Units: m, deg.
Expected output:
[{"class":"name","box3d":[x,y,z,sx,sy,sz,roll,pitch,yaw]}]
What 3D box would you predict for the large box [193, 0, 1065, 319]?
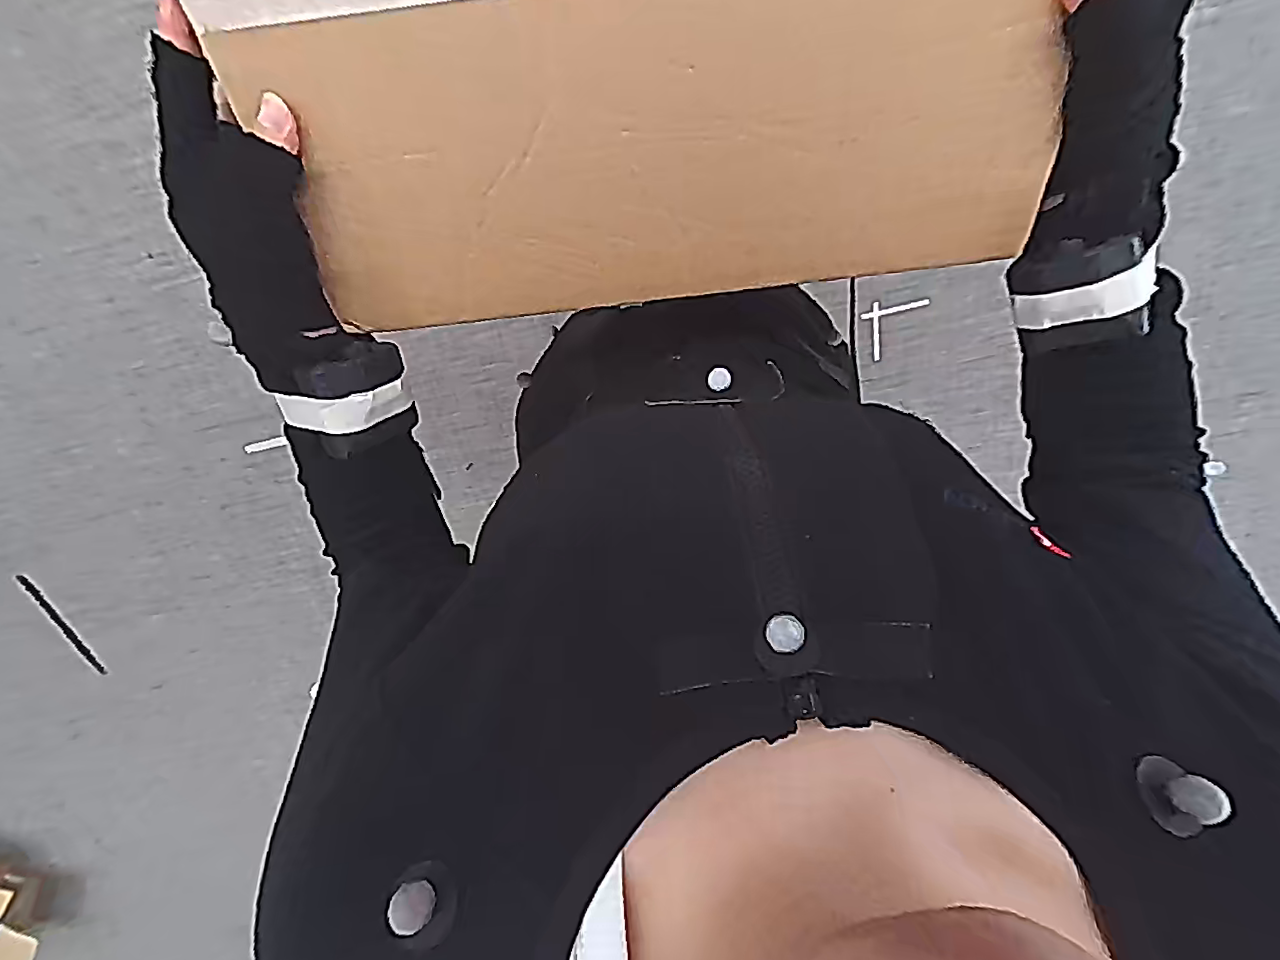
[{"class":"large box","box3d":[-0.007,-0.334,0.342,0.408,0.320,0.320,-6,130,2]}]
